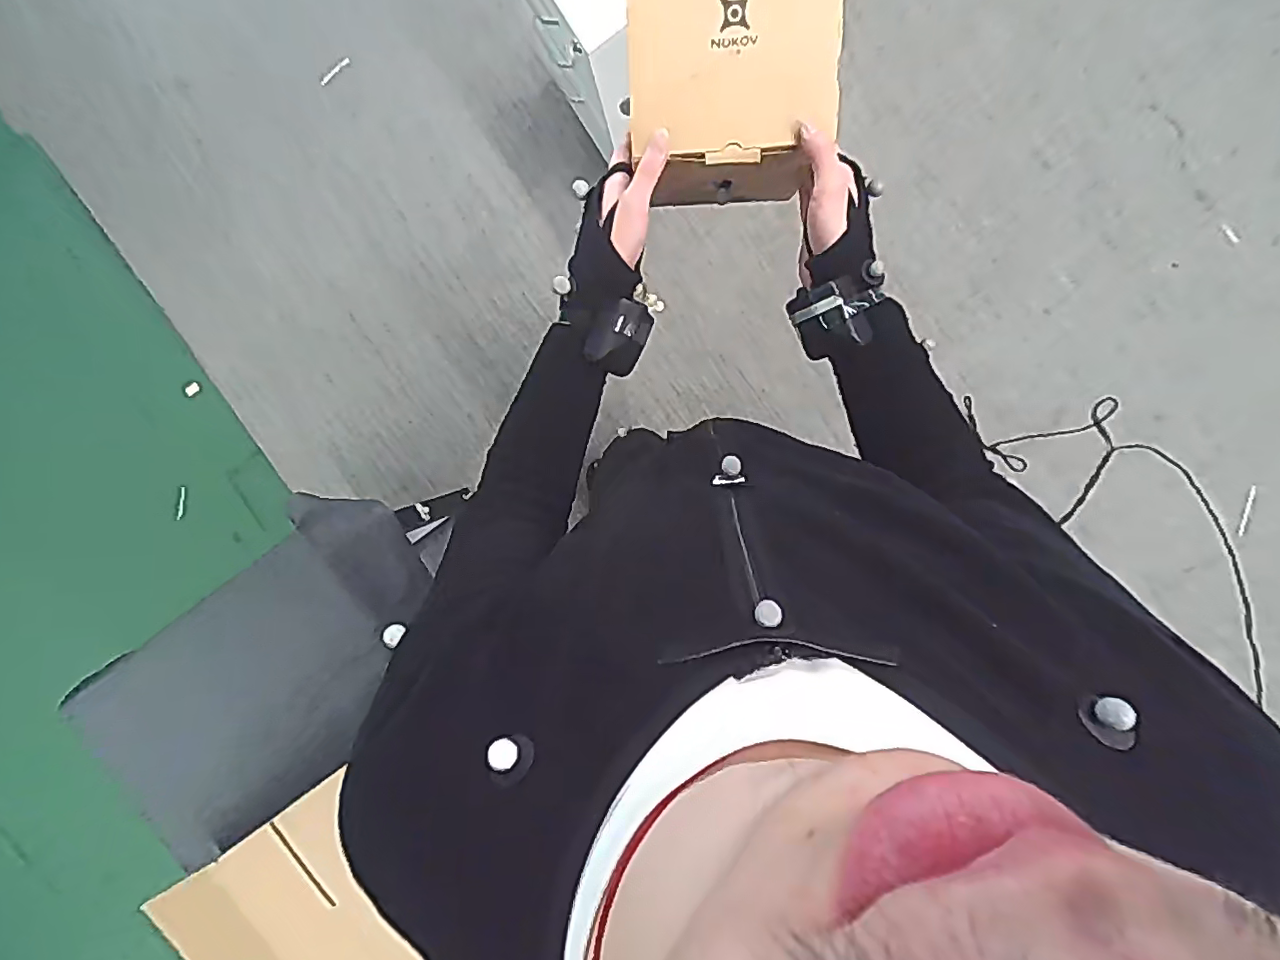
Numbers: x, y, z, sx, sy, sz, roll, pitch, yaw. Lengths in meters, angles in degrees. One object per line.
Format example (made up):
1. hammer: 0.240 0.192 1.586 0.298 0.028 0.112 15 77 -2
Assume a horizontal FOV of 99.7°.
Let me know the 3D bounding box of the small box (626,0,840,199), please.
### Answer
1. small box: 0.078 -0.372 0.497 0.168 0.176 0.179 -3 104 5
